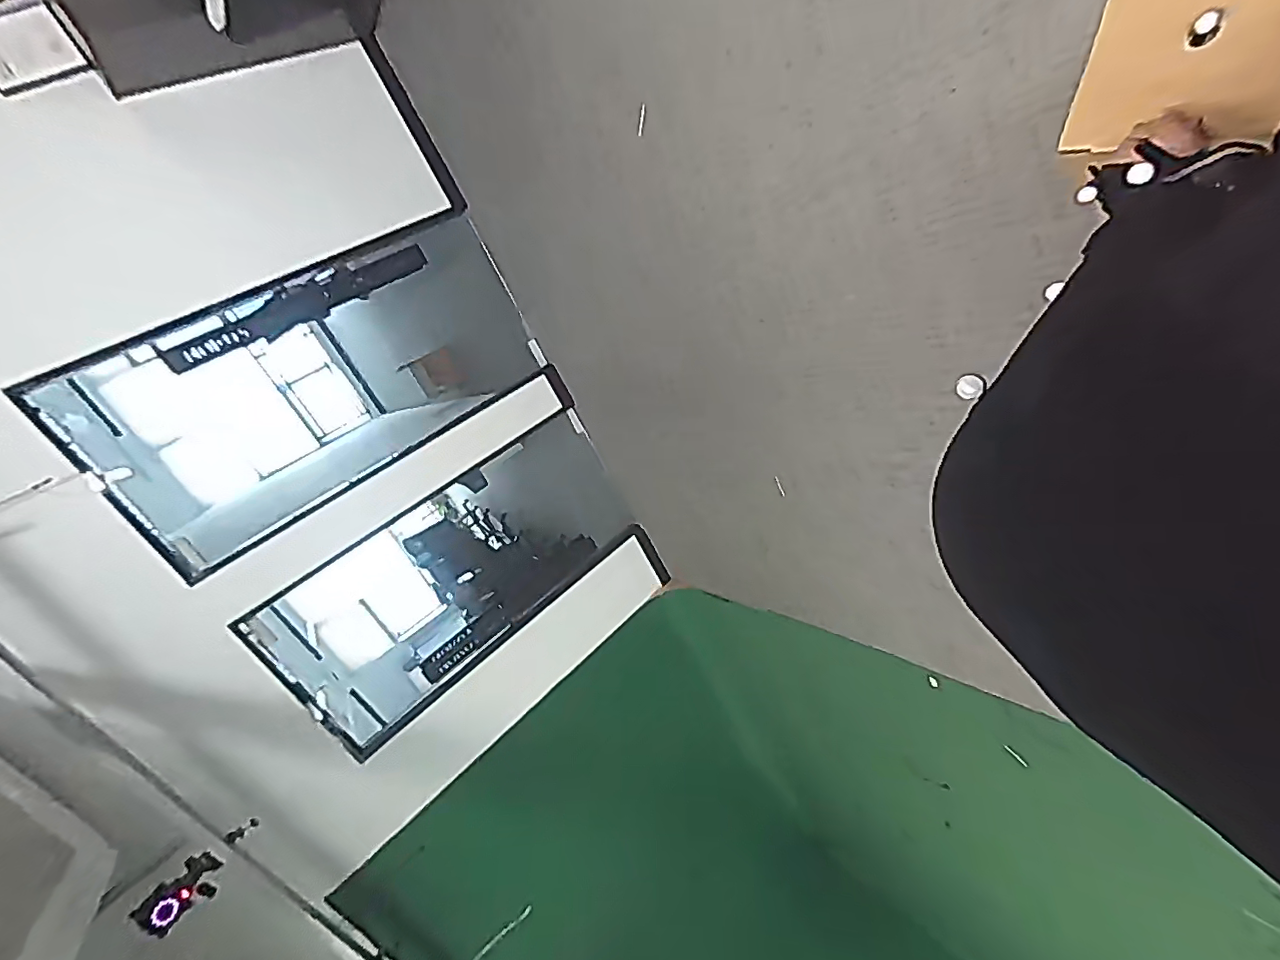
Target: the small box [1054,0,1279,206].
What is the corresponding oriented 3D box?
[{"bbox_3d":[0.556,-0.393,0.545,0.168,0.179,0.176,25,112,40],"label":"small box"}]
